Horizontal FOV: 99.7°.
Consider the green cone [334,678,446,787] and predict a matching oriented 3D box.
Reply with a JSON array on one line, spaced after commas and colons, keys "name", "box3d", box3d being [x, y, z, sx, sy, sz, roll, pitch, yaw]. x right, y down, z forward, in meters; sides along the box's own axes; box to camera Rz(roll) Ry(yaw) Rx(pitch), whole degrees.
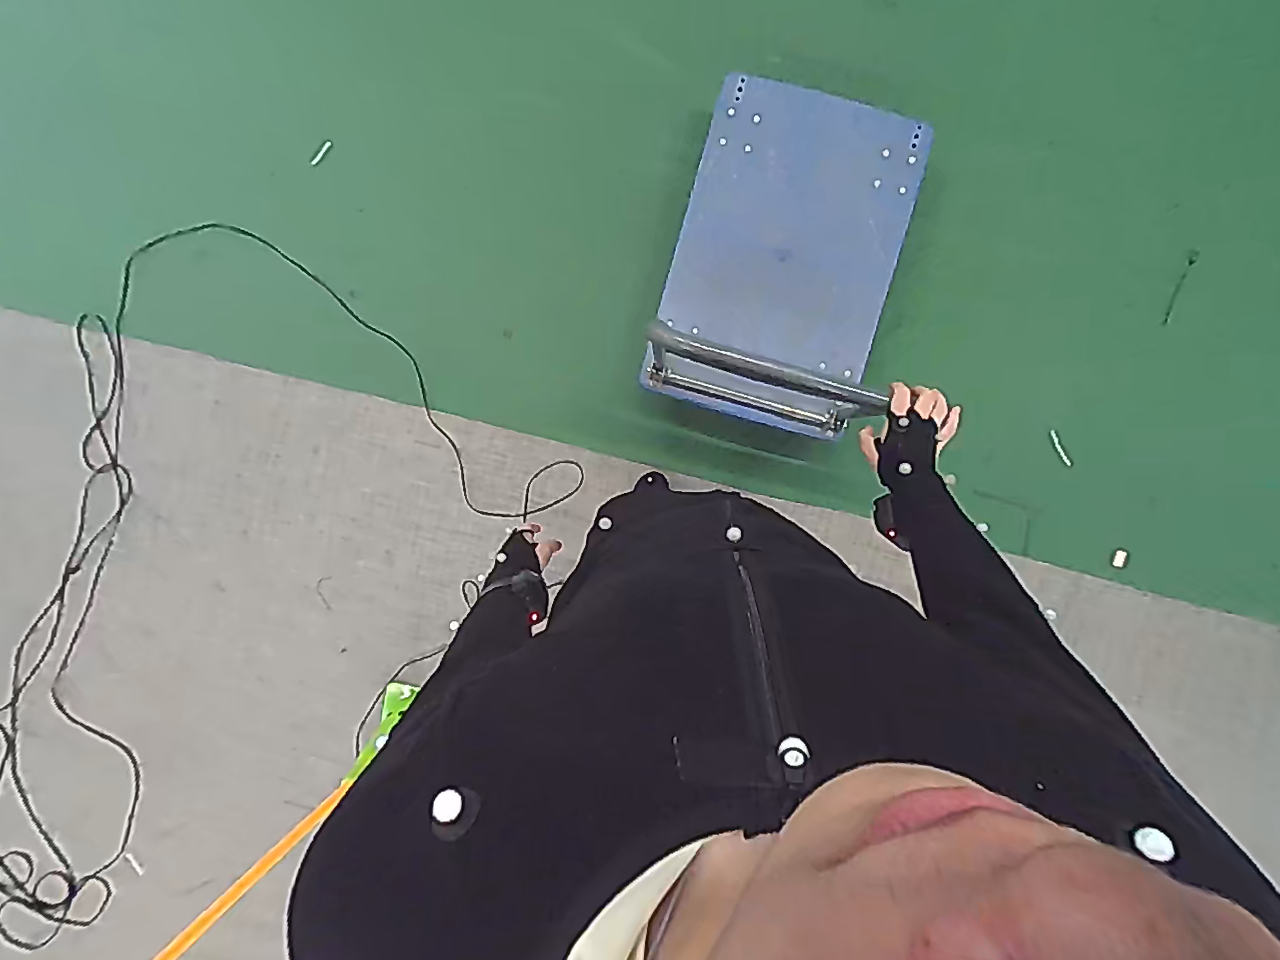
[{"name": "green cone", "box3d": [-0.727, 0.737, 1.522, 0.202, 0.368, 0.200, 11, 93, 4]}]
